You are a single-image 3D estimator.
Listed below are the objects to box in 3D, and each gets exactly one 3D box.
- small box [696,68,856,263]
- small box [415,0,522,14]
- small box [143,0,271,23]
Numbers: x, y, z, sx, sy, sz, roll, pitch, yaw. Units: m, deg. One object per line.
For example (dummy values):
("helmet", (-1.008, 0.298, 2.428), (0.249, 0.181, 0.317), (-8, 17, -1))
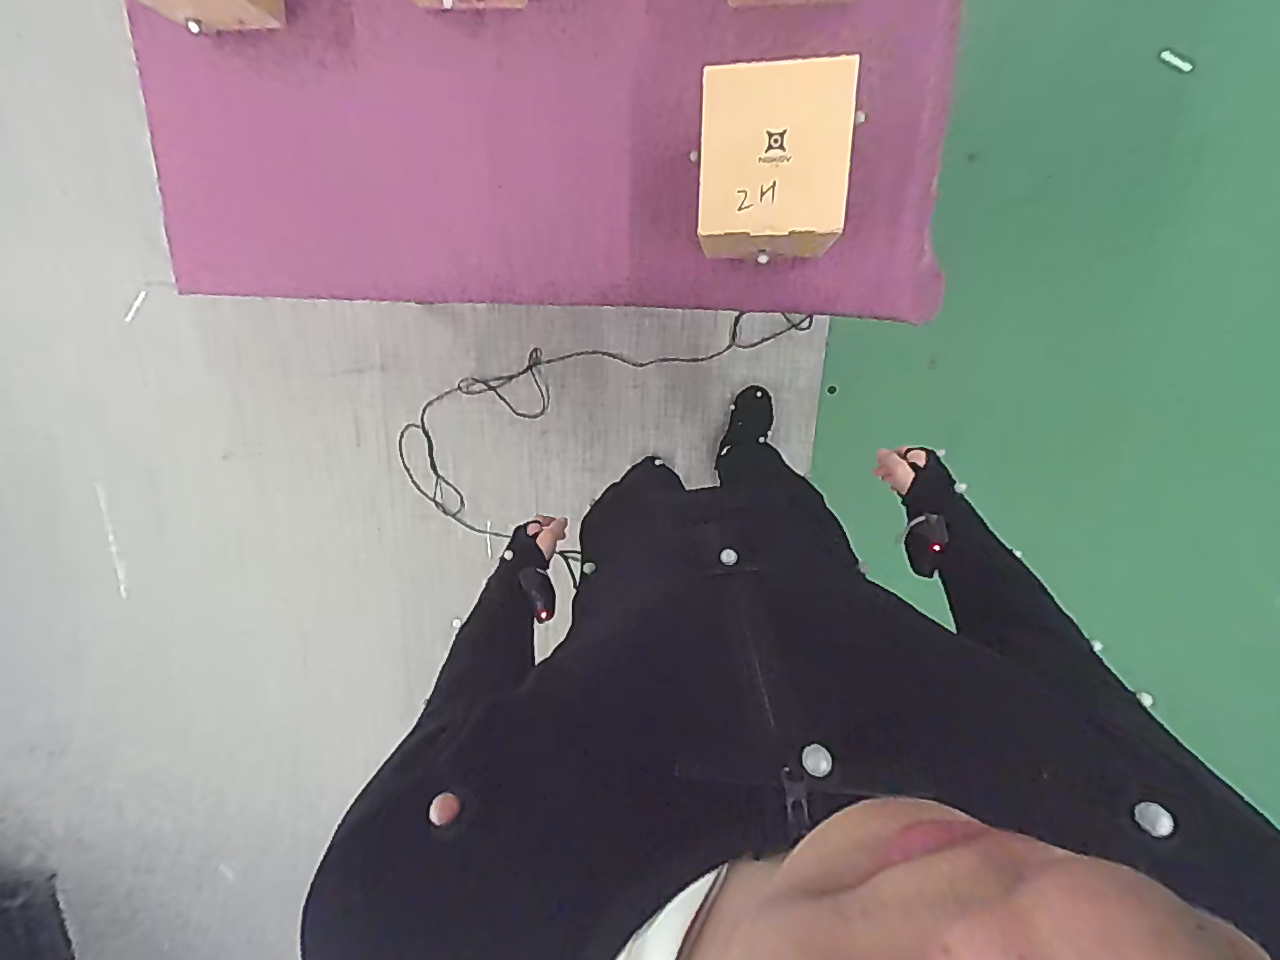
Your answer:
("small box", (0.161, -0.380, 0.684), (0.168, 0.176, 0.179), (4, 105, 9))
("small box", (-0.246, -0.721, 0.659), (0.168, 0.176, 0.179), (7, 106, 7))
("small box", (-0.621, -0.737, 0.705), (0.168, 0.176, 0.179), (5, 106, 6))
